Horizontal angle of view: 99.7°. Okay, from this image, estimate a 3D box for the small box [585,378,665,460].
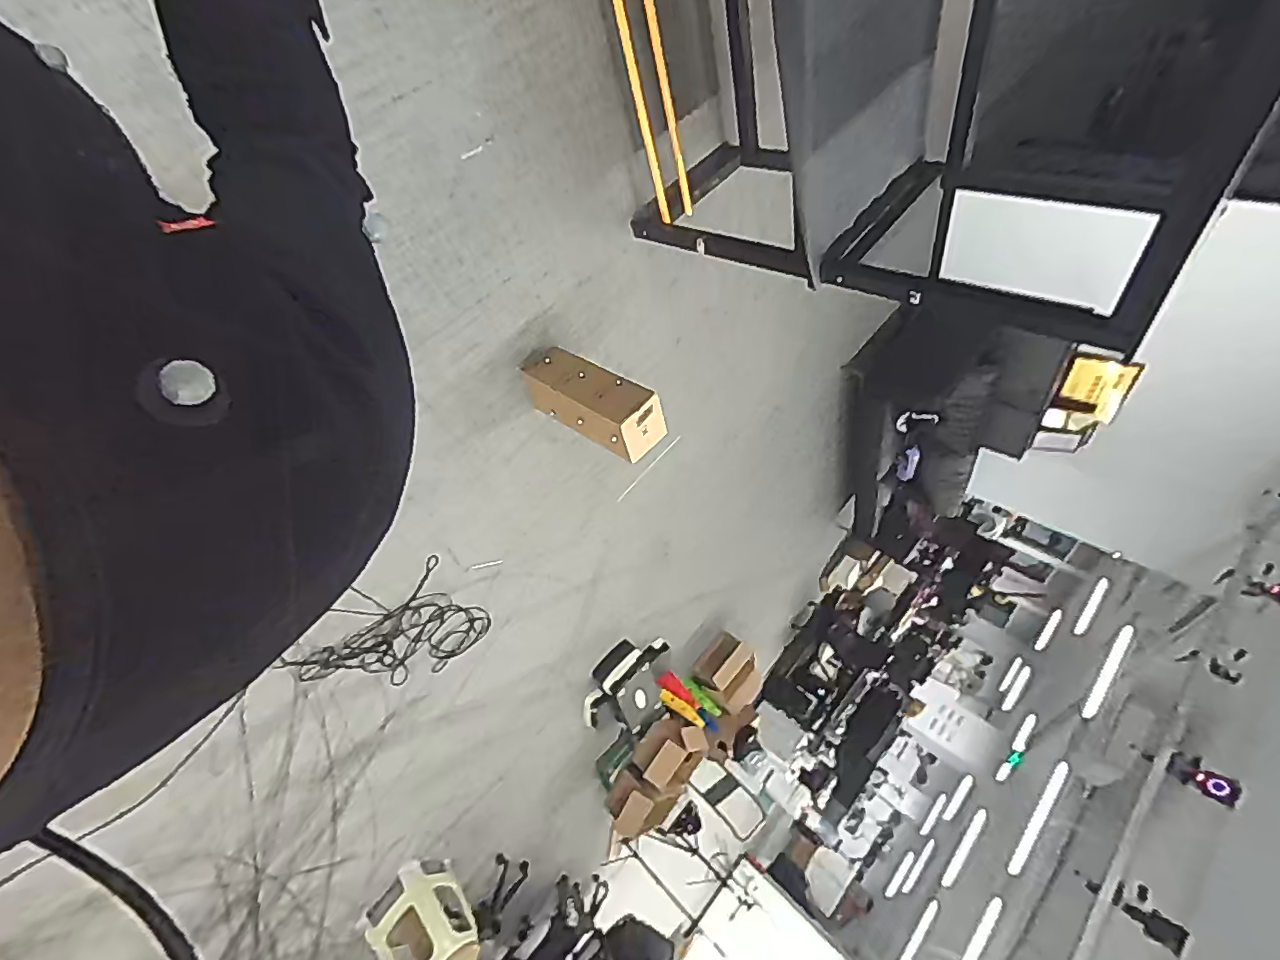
[{"bbox_3d":[-0.049,-0.199,1.697,0.168,0.176,0.179,-43,143,-21],"label":"small box"}]

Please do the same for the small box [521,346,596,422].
[{"bbox_3d":[-0.281,-0.338,1.880,0.168,0.176,0.179,-43,142,-23],"label":"small box"}]
